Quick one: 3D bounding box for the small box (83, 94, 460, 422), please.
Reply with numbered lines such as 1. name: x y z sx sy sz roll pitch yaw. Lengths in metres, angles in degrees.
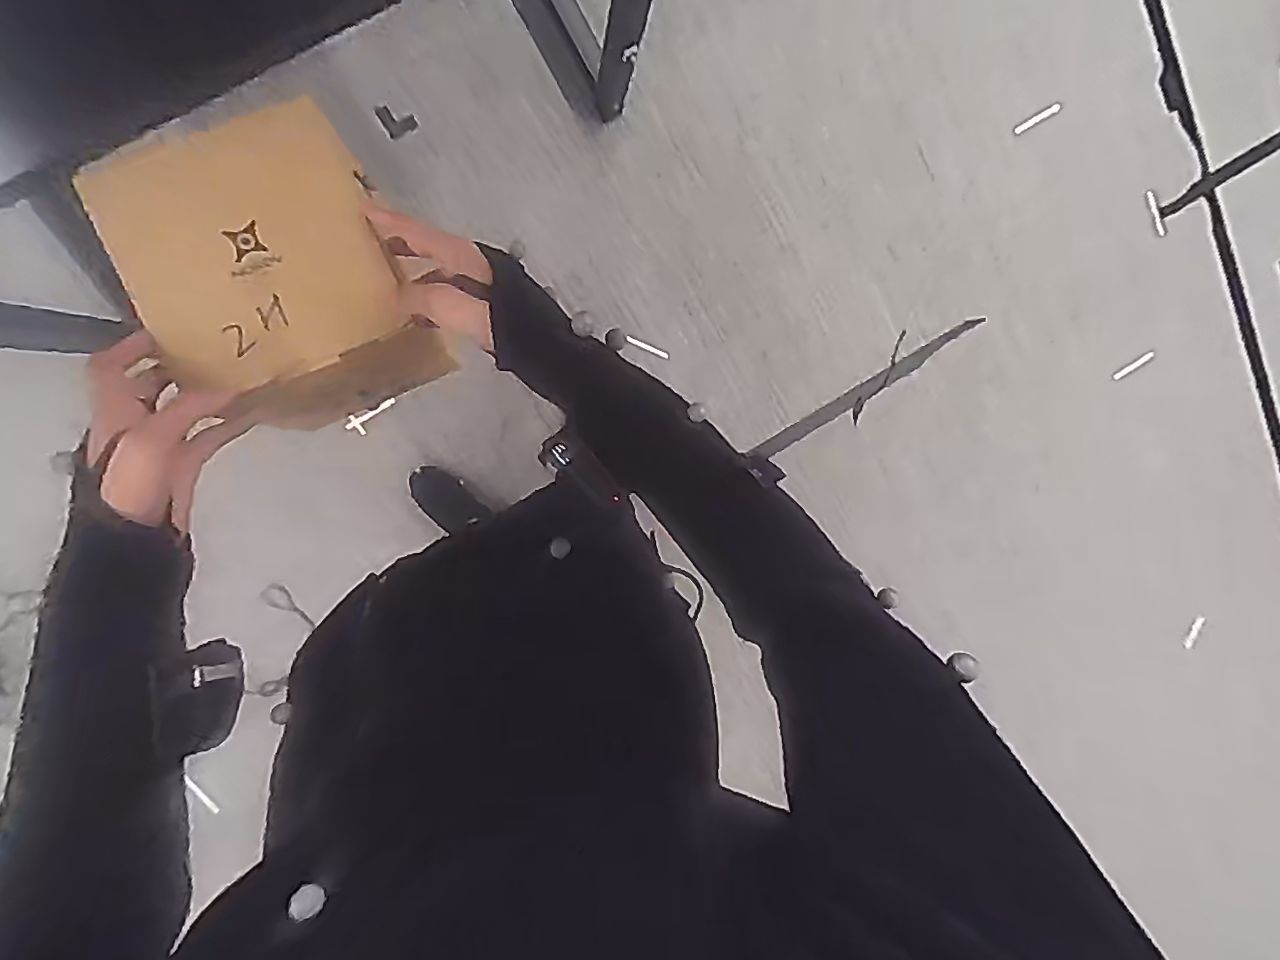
1. small box: -0.273 -0.161 0.451 0.168 0.176 0.179 -24 95 -6
